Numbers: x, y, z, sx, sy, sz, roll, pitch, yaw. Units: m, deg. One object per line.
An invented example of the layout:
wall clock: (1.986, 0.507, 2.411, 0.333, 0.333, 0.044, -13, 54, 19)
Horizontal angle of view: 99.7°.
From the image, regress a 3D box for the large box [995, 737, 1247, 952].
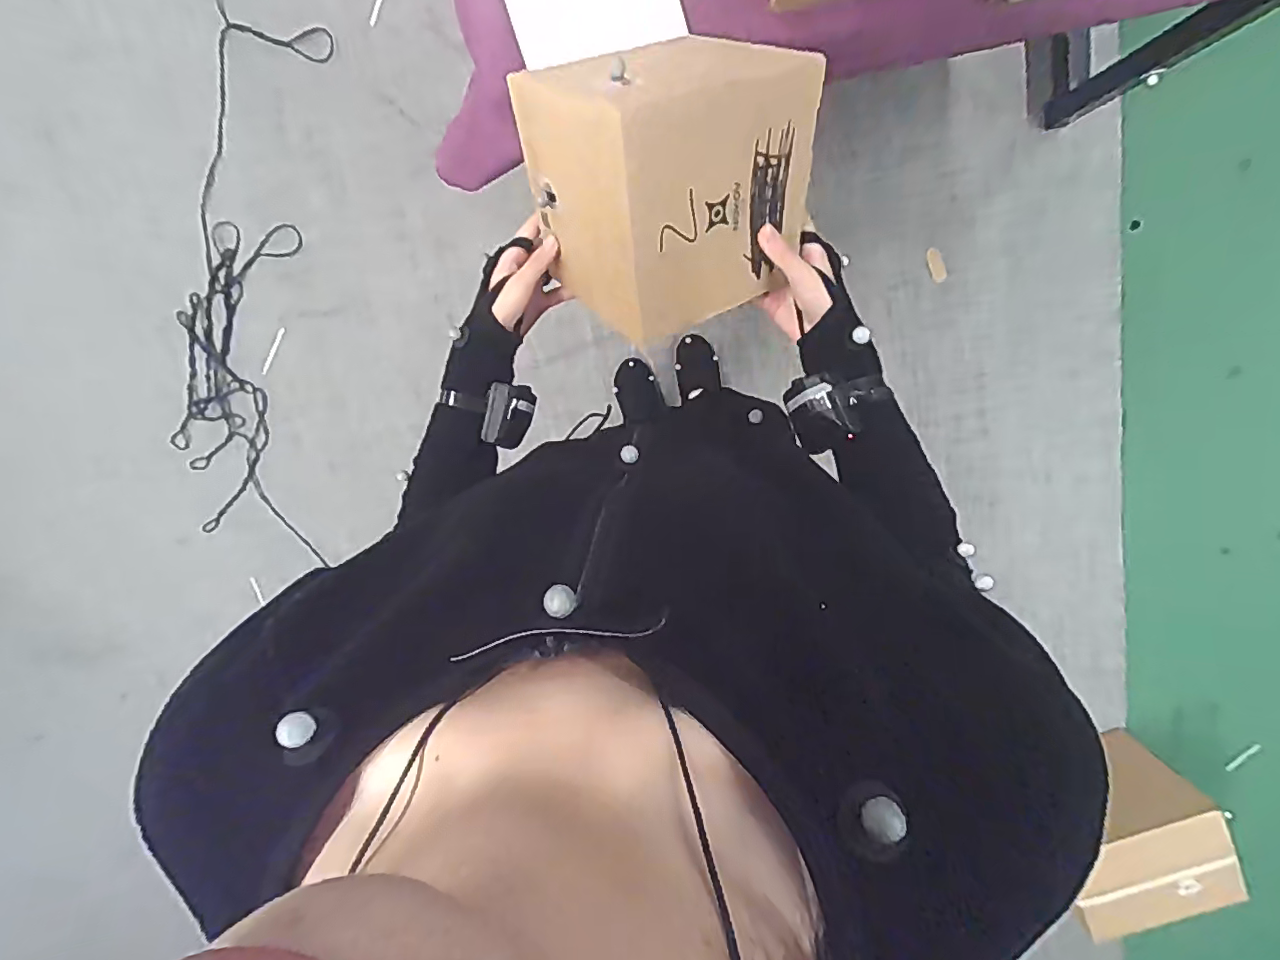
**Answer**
large box: (1.340, 1.020, 1.546, 0.408, 0.320, 0.320, -25, 101, 6)
